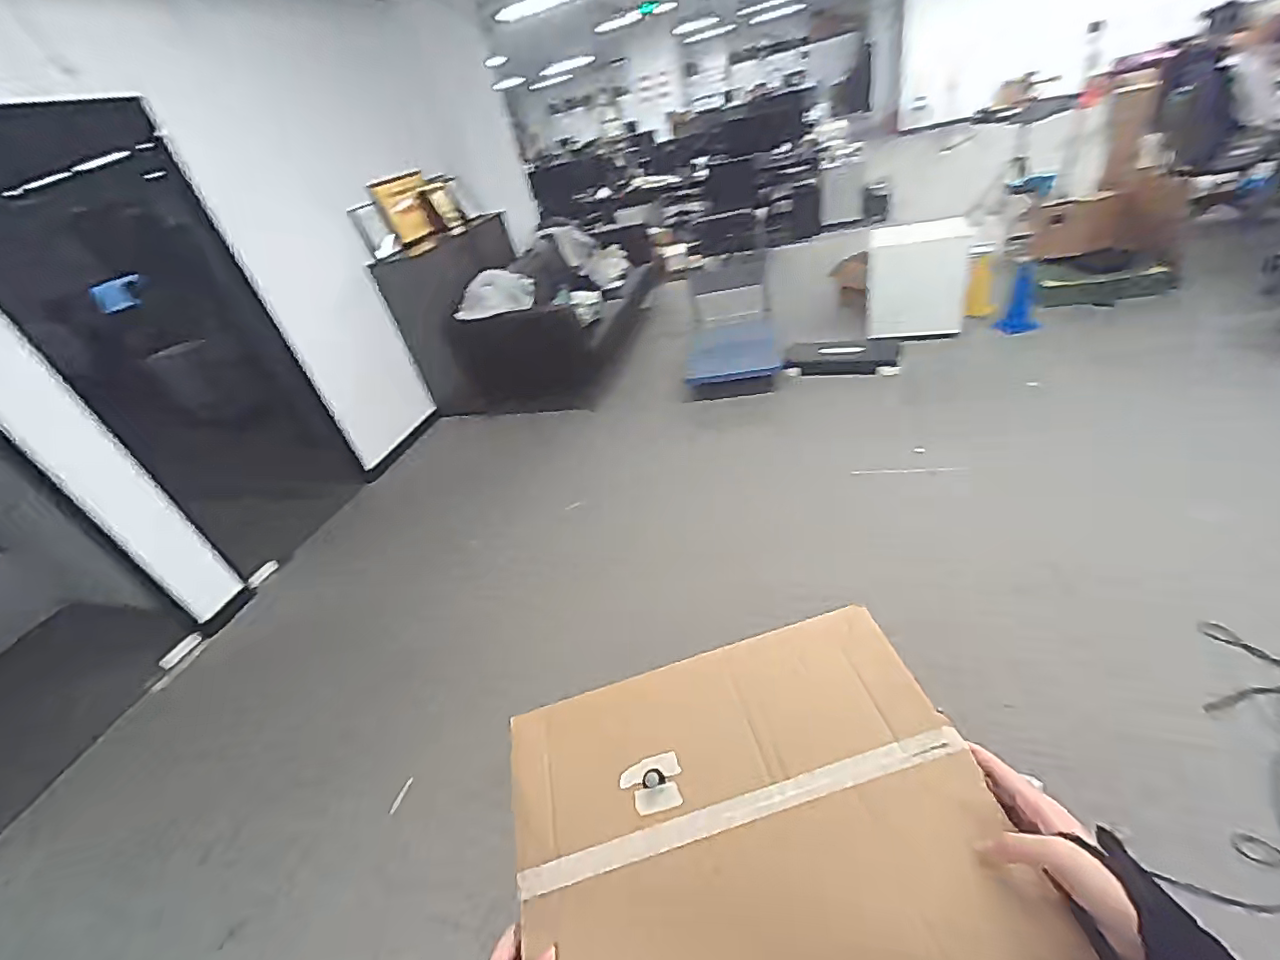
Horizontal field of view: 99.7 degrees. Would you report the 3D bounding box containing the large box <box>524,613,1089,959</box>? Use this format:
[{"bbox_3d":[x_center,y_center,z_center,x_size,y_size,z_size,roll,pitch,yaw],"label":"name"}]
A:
[{"bbox_3d":[0.130,0.408,0.578,0.408,0.320,0.320,-19,41,0],"label":"large box"}]
